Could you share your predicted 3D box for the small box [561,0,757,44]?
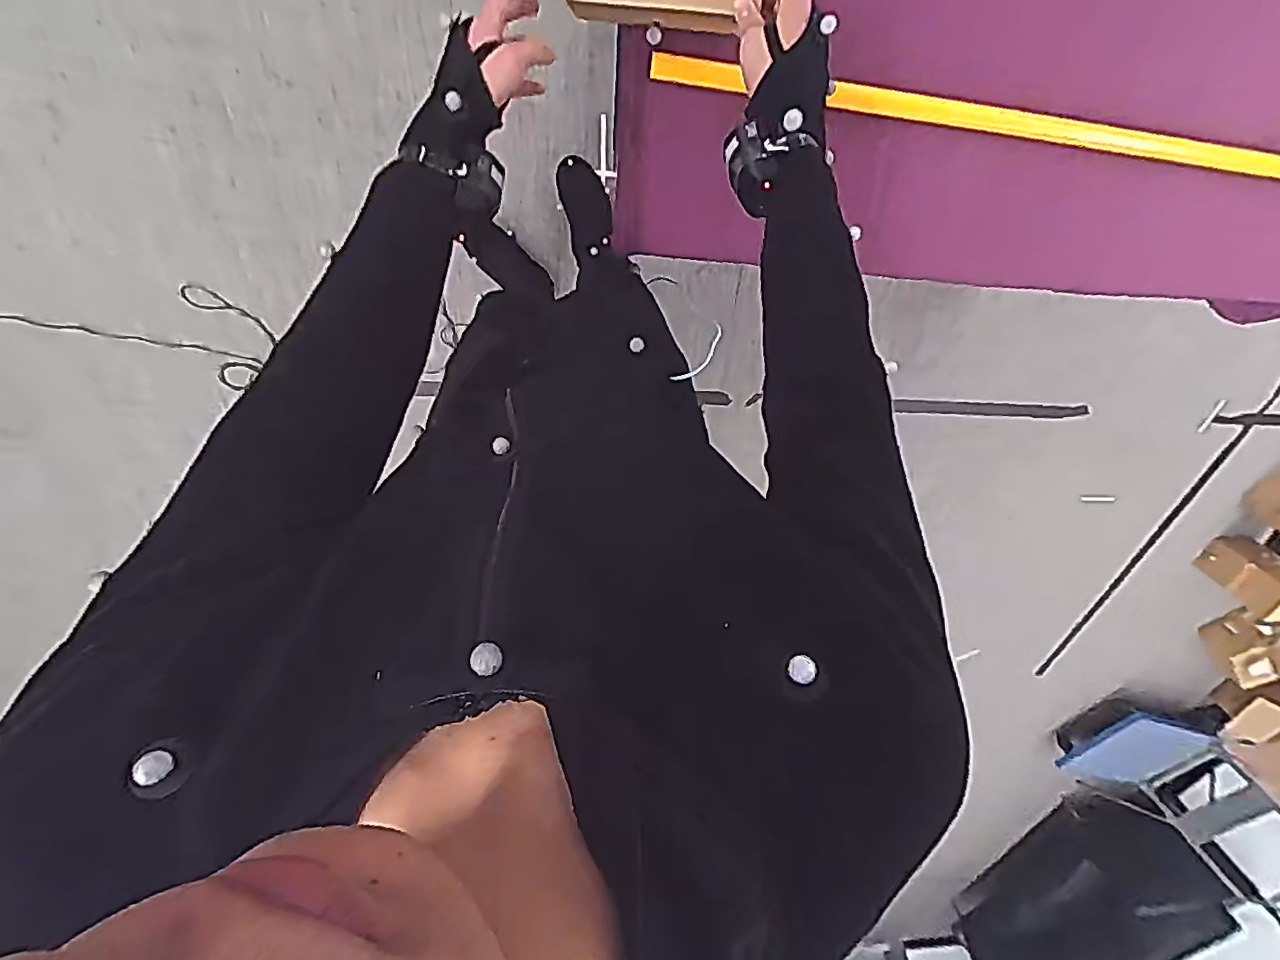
[{"bbox_3d":[0.019,-0.522,0.505,0.179,0.176,0.168,3,126,-4],"label":"small box"}]
